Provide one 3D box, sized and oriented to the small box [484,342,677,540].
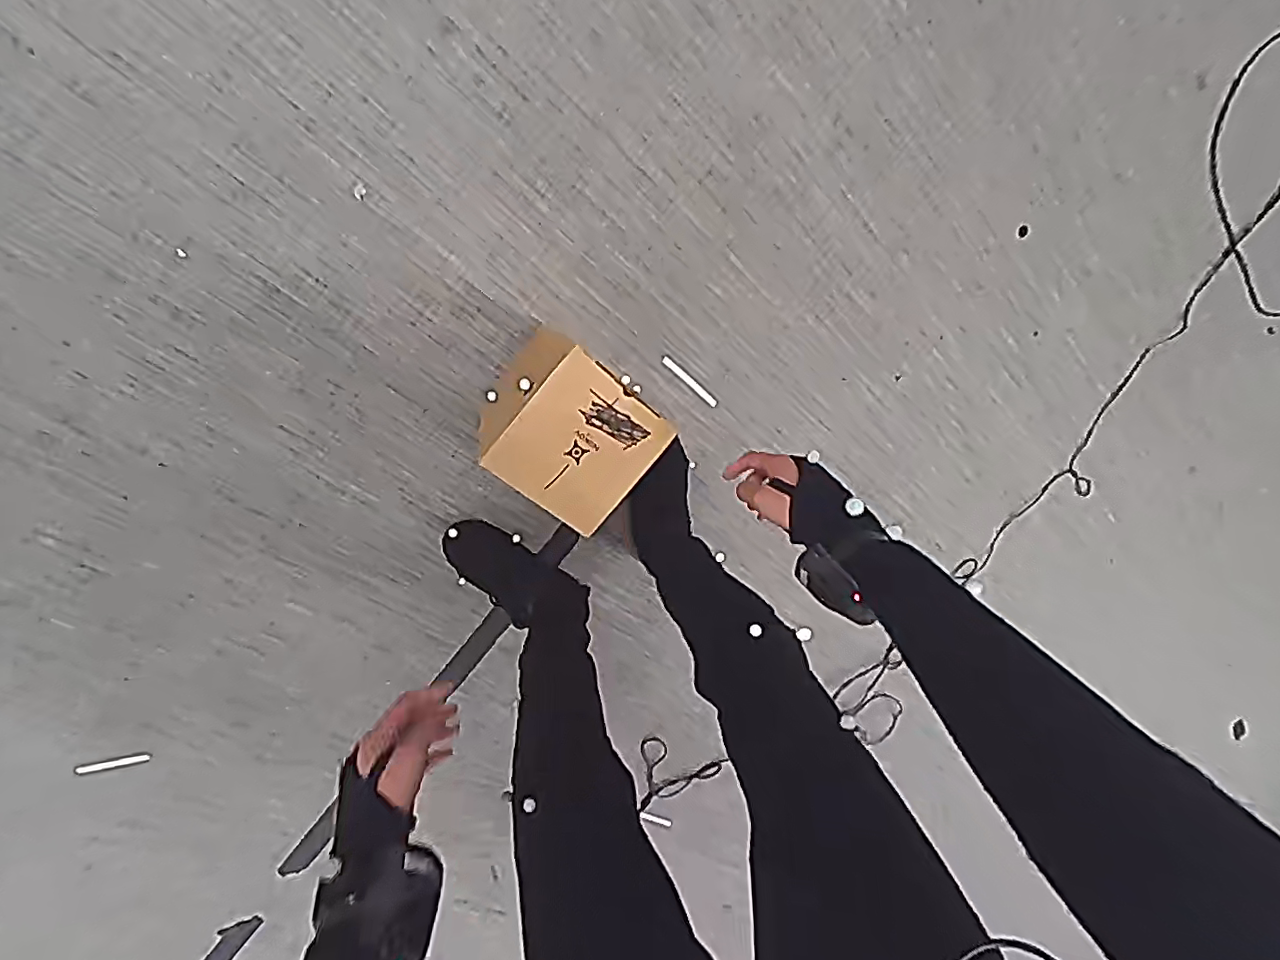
[{"bbox_3d":[-0.087,-0.061,0.707,0.168,0.176,0.179,38,96,-24],"label":"small box"}]
